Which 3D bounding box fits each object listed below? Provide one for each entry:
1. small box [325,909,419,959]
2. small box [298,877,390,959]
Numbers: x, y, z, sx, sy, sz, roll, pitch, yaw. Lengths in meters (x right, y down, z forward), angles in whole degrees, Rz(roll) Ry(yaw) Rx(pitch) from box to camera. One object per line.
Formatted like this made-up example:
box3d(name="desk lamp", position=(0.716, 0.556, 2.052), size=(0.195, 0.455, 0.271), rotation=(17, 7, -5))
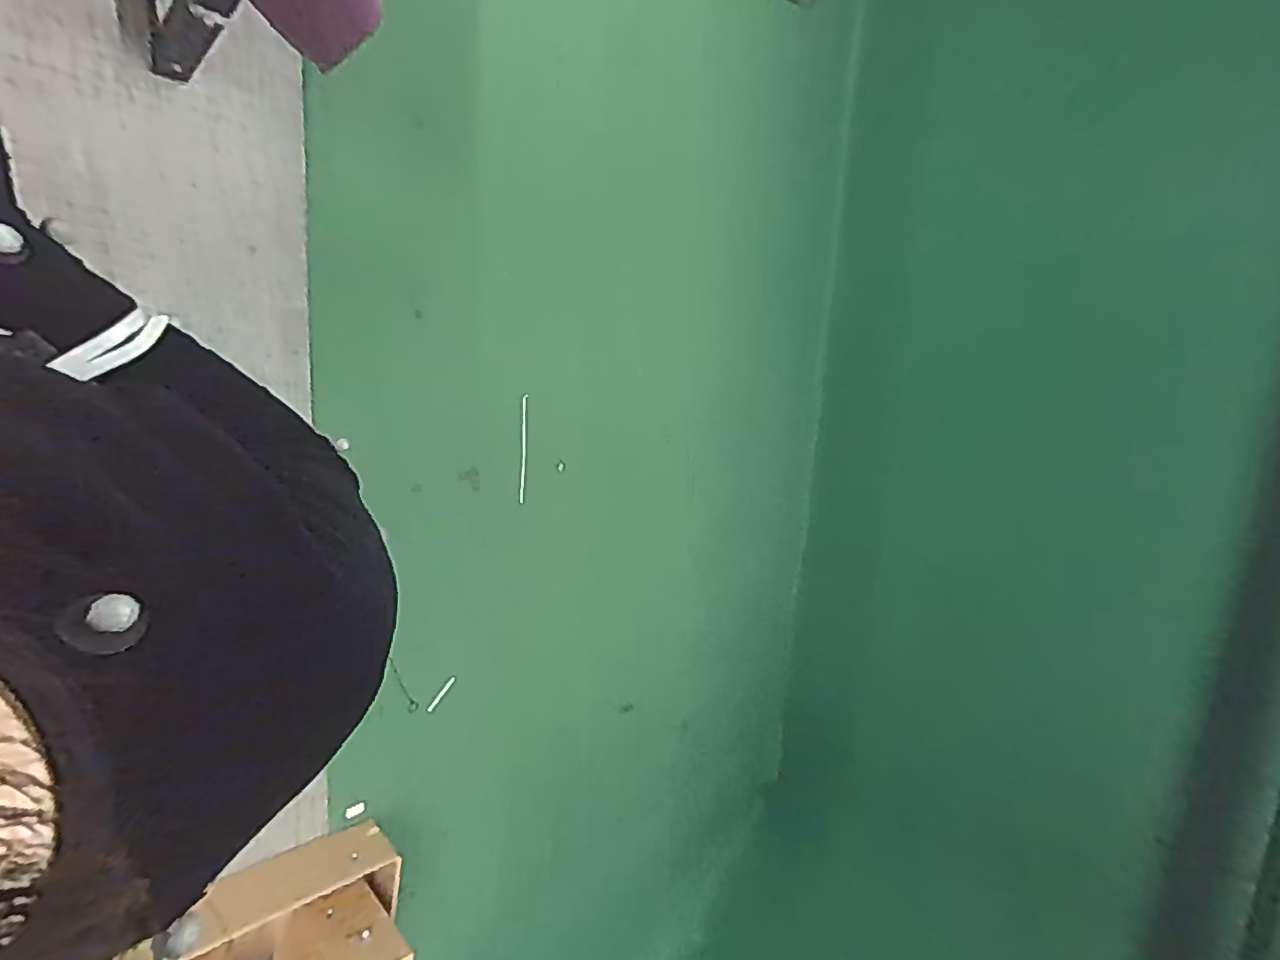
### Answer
box3d(name="small box", position=(-0.692, 1.261, 1.375), size=(0.168, 0.176, 0.179), rotation=(10, 89, -50))
box3d(name="small box", position=(-0.813, 1.241, 1.483), size=(0.168, 0.176, 0.179), rotation=(8, 92, -49))
